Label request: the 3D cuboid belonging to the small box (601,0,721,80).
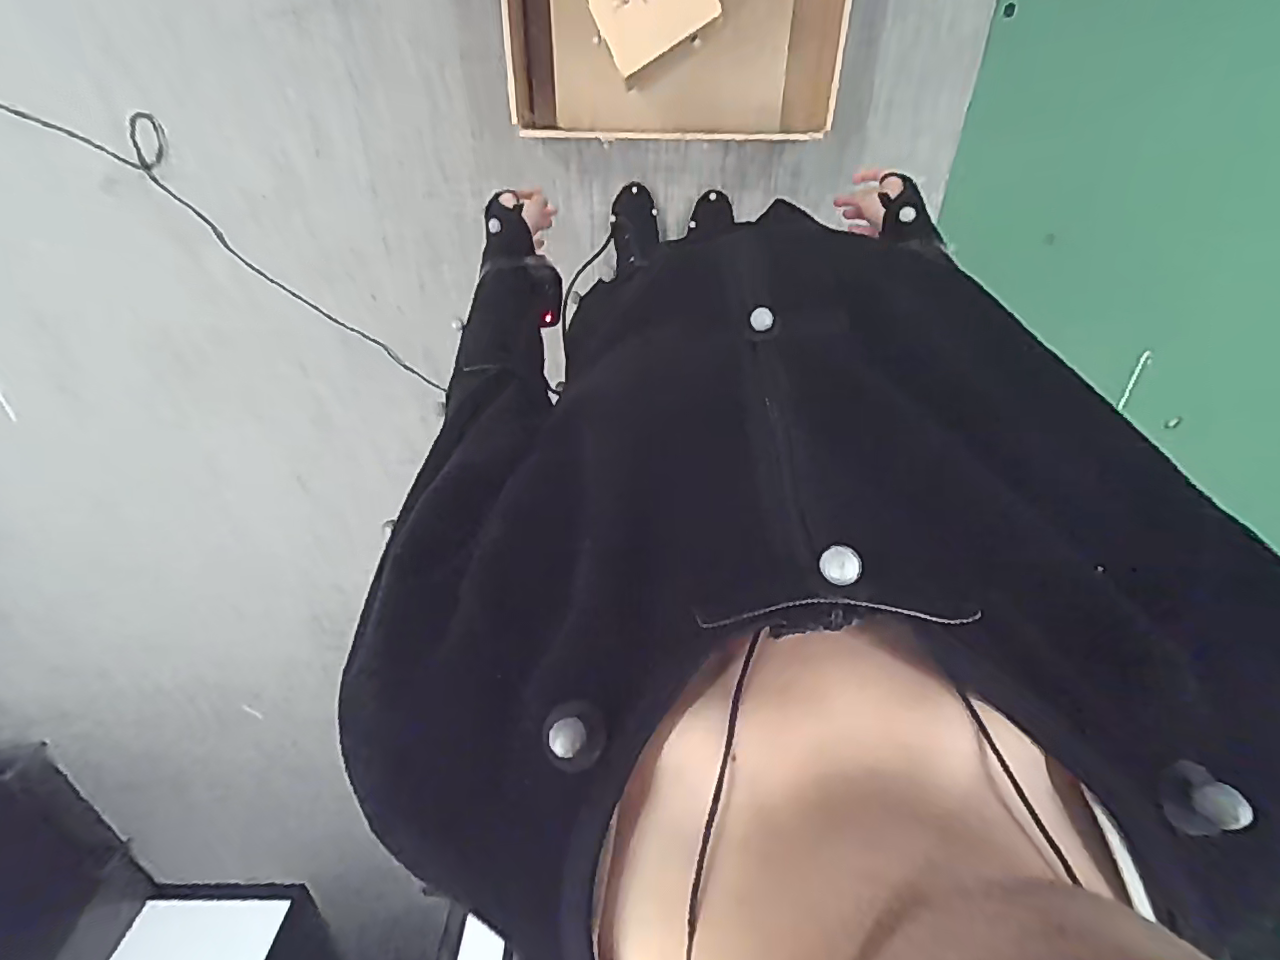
[{"bbox_3d":[0.031,-0.868,0.984,0.179,0.176,0.168,-25,117,15],"label":"small box"}]
